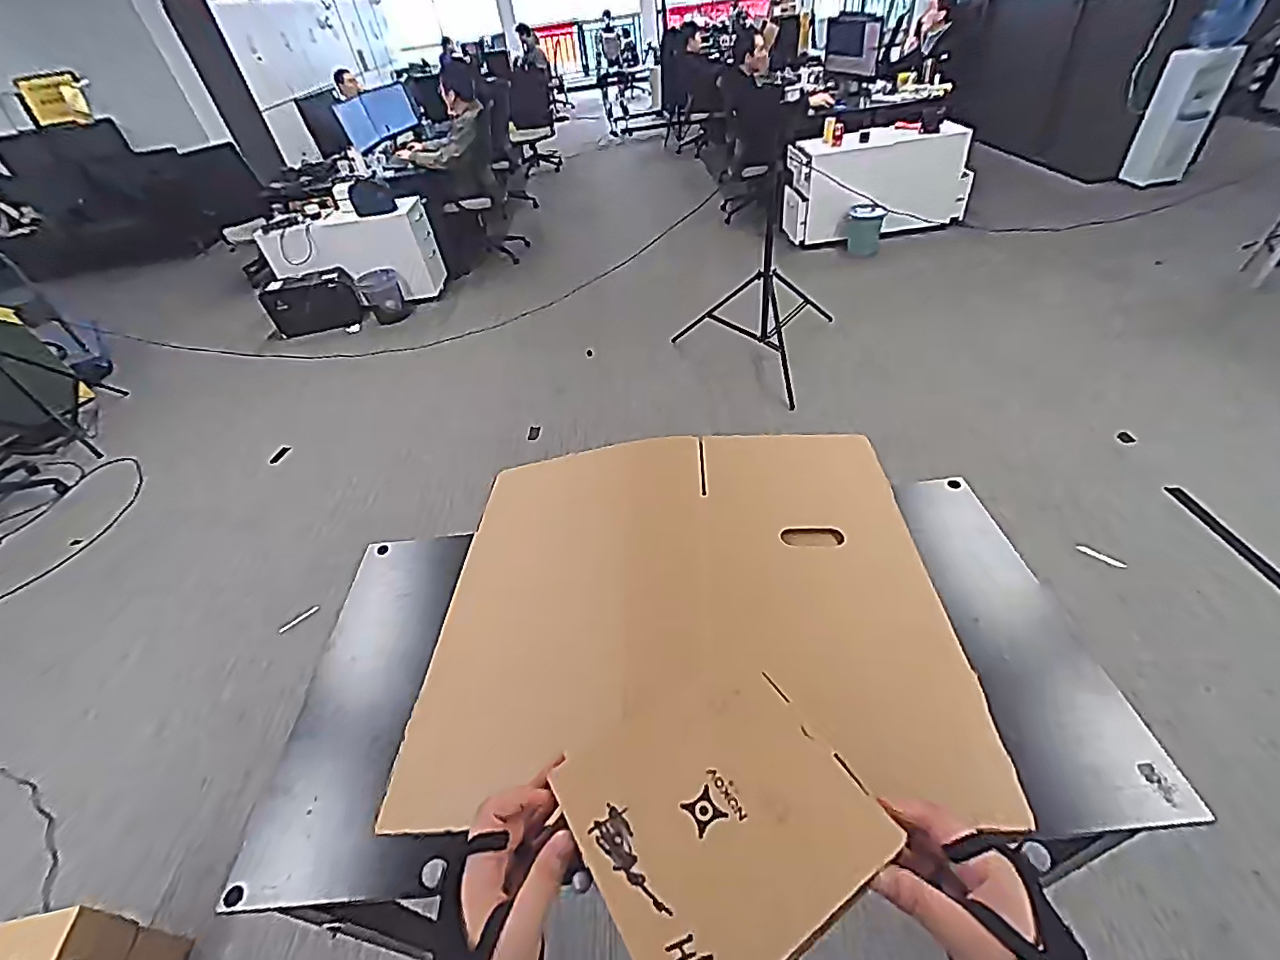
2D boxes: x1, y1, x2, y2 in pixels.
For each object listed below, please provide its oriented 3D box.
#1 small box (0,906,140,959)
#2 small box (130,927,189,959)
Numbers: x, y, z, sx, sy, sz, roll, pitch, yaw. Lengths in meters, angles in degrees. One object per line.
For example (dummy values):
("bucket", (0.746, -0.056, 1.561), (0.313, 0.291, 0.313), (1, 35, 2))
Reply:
("small box", (-1.137, 0.962, 1.042), (0.168, 0.176, 0.179), (-11, 41, -3))
("small box", (-1.117, 1.086, 1.146), (0.168, 0.176, 0.179), (-10, 43, -1))
